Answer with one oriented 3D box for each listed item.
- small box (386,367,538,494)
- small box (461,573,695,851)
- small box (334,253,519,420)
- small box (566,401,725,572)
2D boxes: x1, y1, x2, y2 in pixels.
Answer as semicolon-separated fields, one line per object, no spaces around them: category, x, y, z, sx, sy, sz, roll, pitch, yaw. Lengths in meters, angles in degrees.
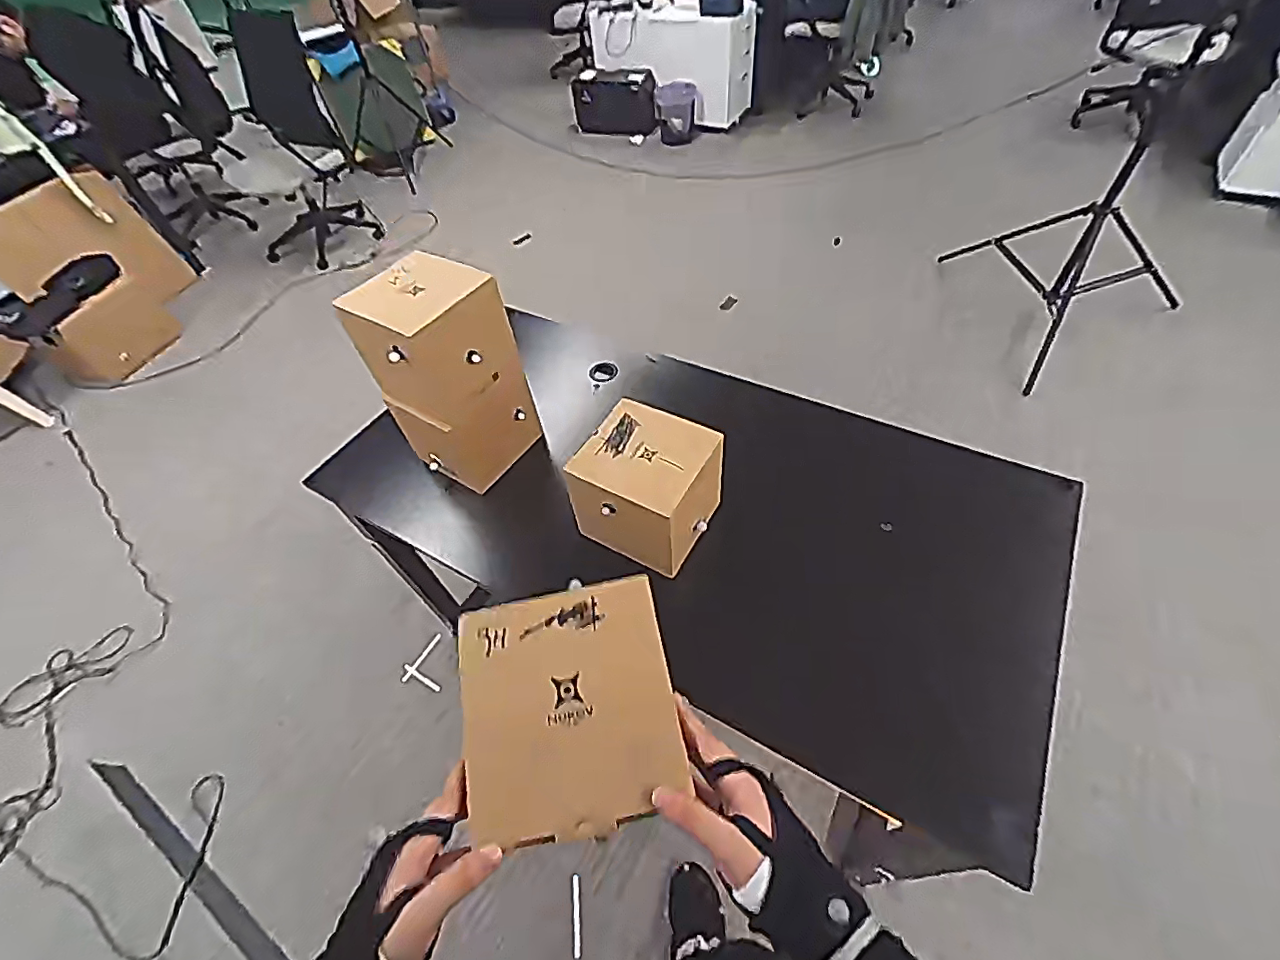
small box;-0.300;-0.109;0.959;0.168;0.176;0.179;24;59;24
small box;-0.050;0.204;0.494;0.168;0.176;0.179;-12;65;-3
small box;-0.315;-0.217;0.835;0.179;0.176;0.168;24;58;24
small box;0.014;0.013;0.827;0.179;0.176;0.168;23;58;21
